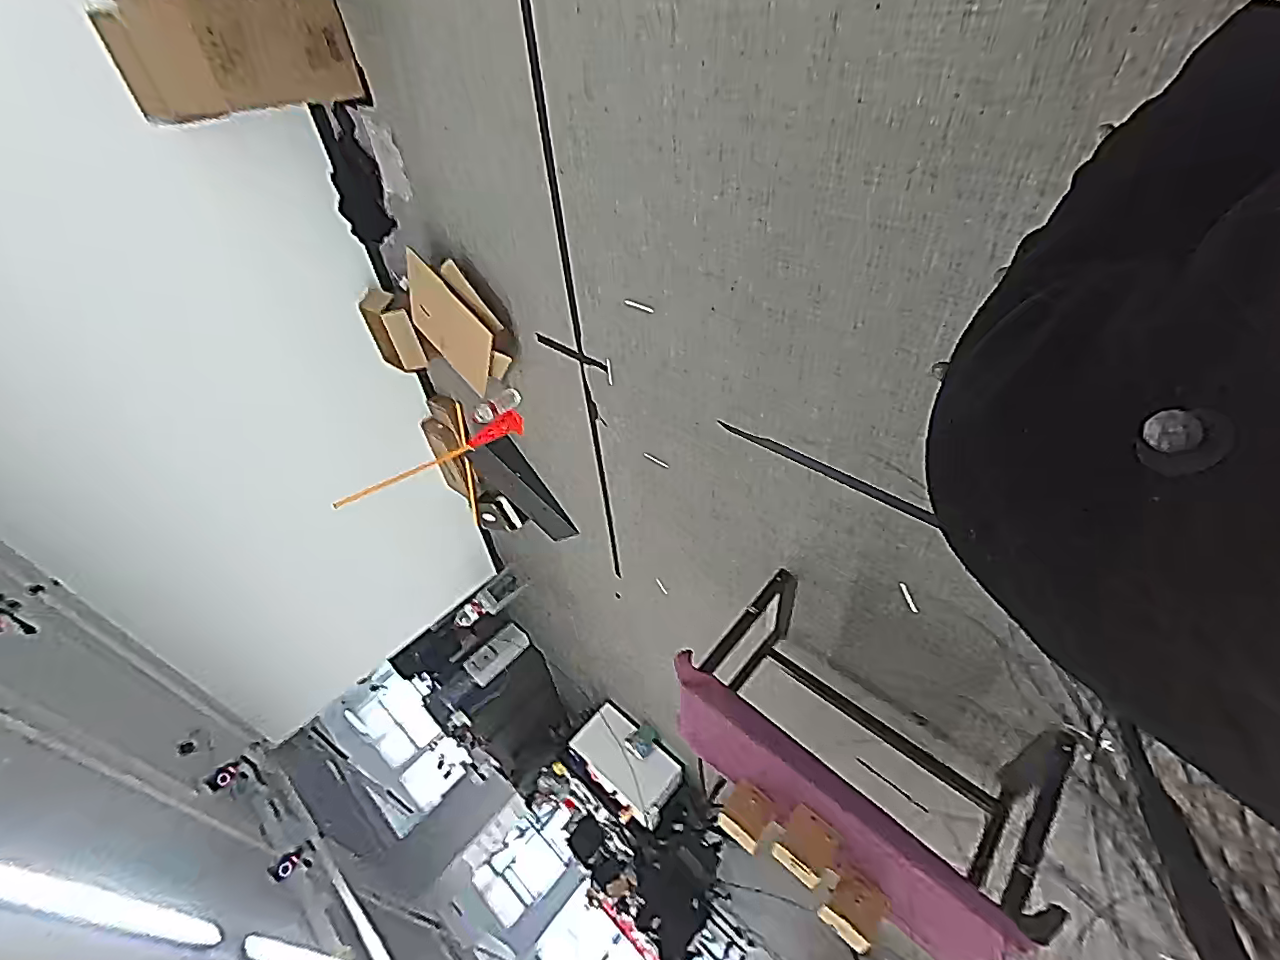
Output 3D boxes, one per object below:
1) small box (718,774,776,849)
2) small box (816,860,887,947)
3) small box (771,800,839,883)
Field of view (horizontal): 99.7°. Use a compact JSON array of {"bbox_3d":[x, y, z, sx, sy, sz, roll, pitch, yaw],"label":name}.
[{"bbox_3d":[0.436,1.342,2.196,0.168,0.176,0.179,29,142,31],"label":"small box"},{"bbox_3d":[0.766,1.524,1.953,0.168,0.176,0.179,30,141,32],"label":"small box"},{"bbox_3d":[0.592,1.289,1.937,0.168,0.176,0.179,31,145,31],"label":"small box"}]
